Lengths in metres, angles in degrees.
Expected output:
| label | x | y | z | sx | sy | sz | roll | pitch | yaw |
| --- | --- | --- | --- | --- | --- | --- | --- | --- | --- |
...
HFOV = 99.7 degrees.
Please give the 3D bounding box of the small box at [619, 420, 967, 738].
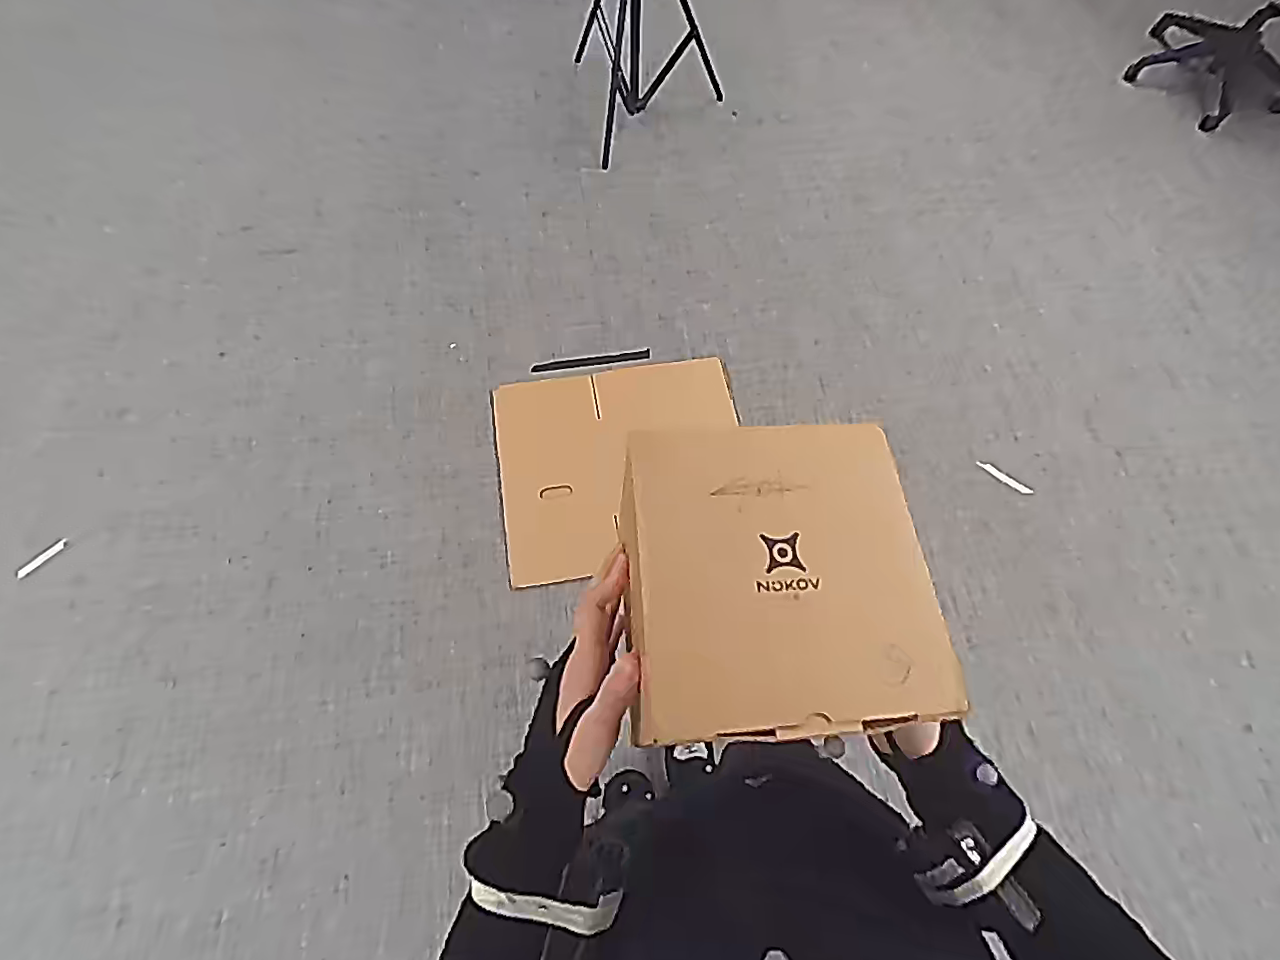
| label | x | y | z | sx | sy | sz | roll | pitch | yaw |
| --- | --- | --- | --- | --- | --- | --- | --- | --- | --- |
| small box | 0.075 | 0.077 | 0.375 | 0.168 | 0.176 | 0.179 | -2 | 63 | -7 |
